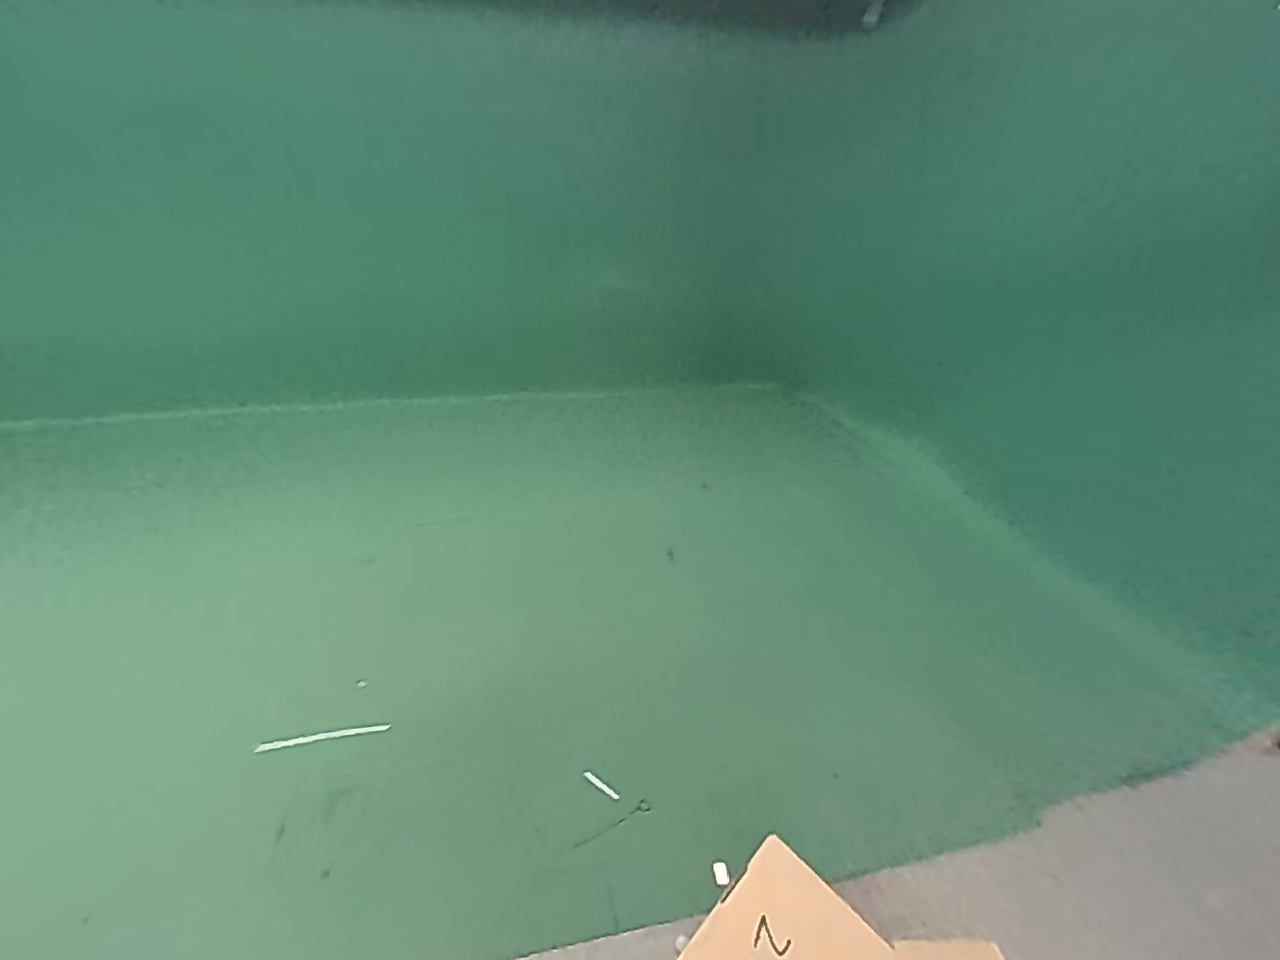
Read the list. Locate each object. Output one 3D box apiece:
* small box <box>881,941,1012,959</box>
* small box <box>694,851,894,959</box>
[{"bbox_3d":[0.406,0.739,0.705,0.179,0.176,0.168,1,30,0],"label":"small box"},{"bbox_3d":[0.103,0.404,0.361,0.179,0.176,0.168,32,51,32],"label":"small box"}]
